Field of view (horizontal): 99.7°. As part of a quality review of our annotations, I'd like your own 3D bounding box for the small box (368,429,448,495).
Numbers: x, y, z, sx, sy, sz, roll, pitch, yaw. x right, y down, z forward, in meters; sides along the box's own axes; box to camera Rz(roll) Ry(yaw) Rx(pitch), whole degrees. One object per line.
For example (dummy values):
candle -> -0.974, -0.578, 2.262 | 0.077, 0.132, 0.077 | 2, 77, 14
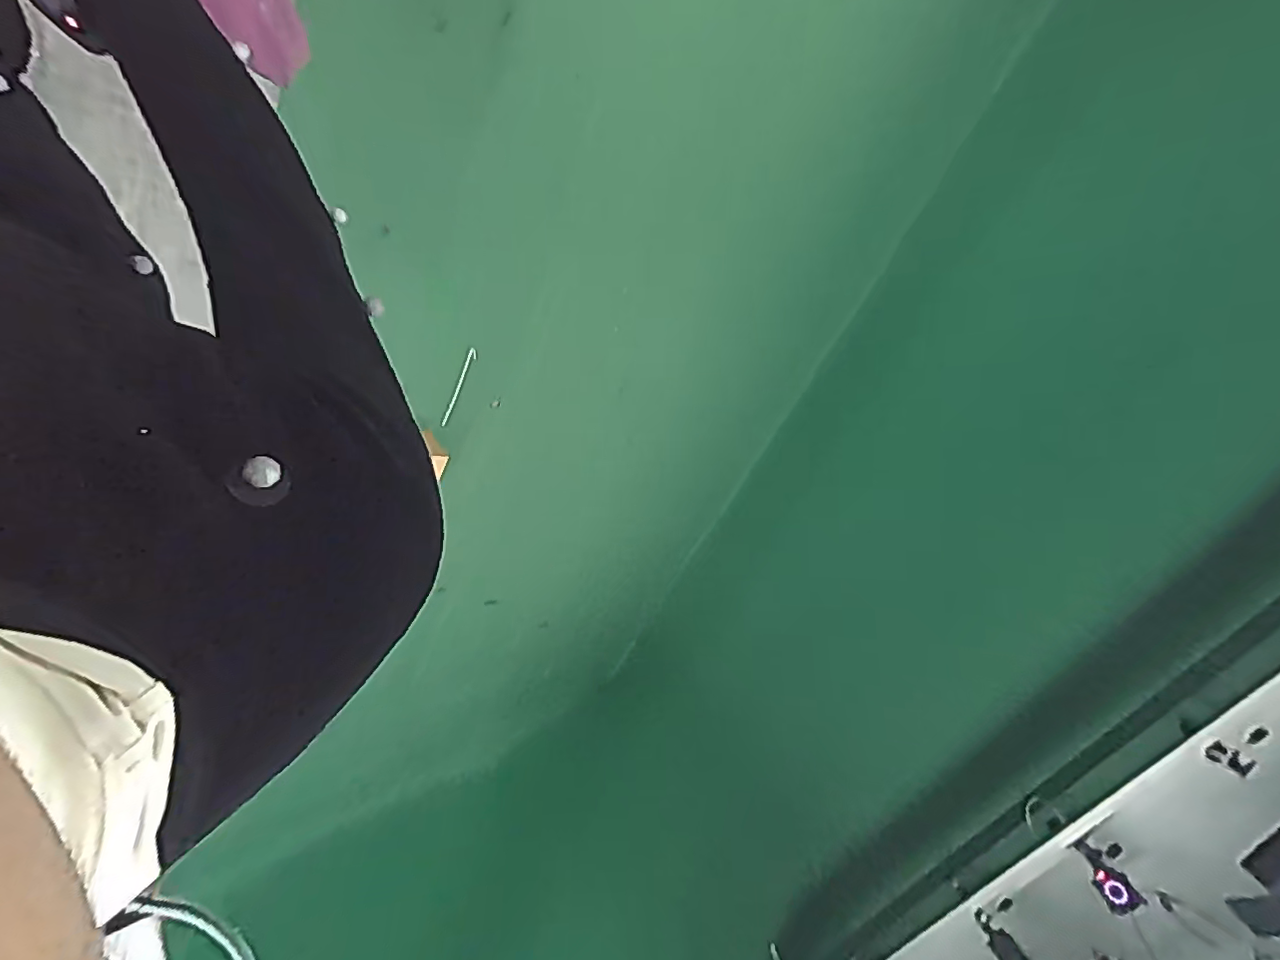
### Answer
small box -> -0.803, -0.063, 1.865 | 0.179, 0.176, 0.168 | 2, 125, -51
